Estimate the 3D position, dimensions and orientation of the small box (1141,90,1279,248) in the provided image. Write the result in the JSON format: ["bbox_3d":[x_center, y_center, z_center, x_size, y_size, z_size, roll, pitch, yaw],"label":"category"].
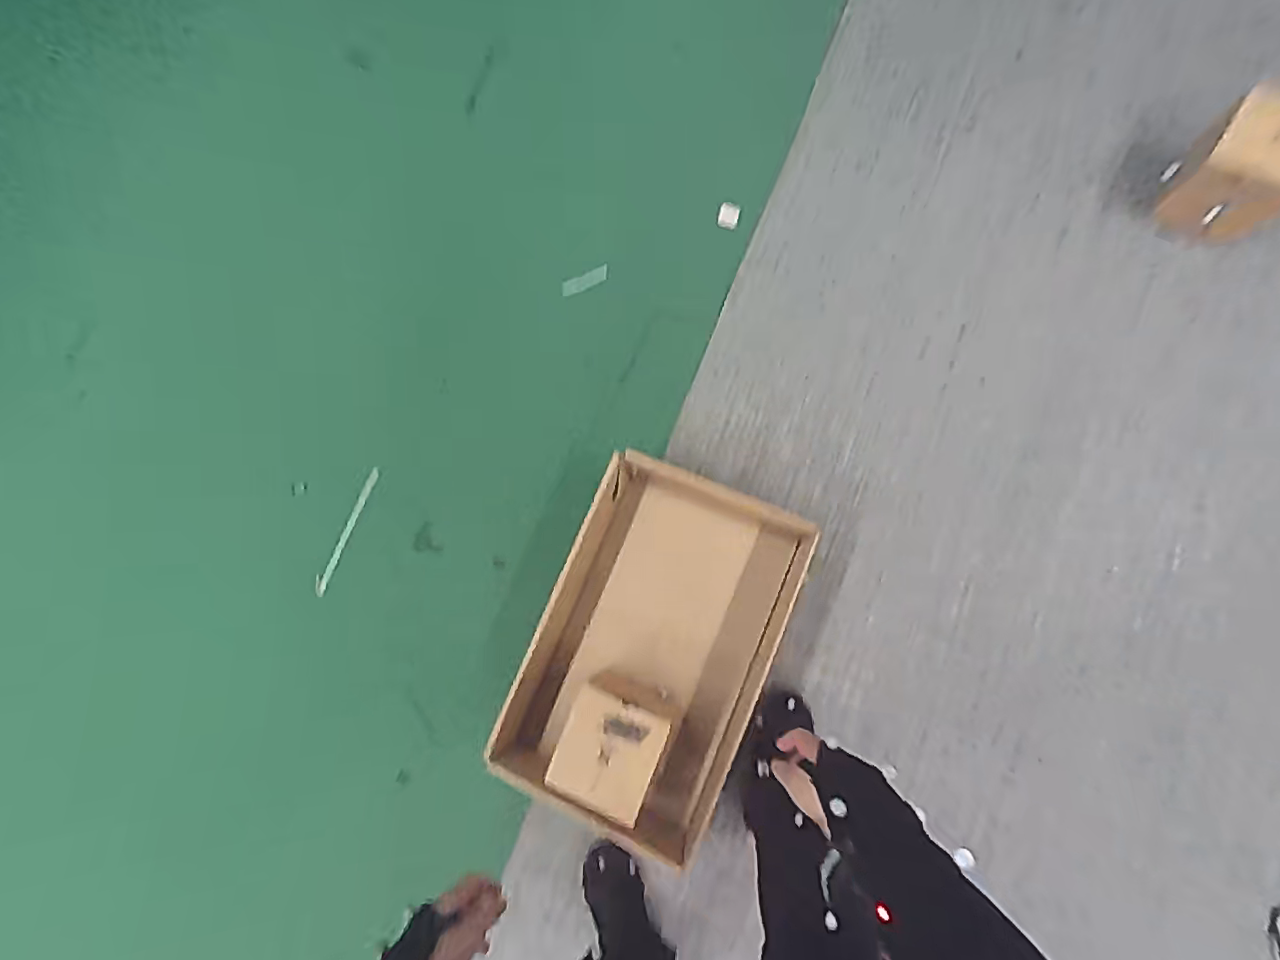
[{"bbox_3d":[1.136,-0.588,1.043,0.168,0.176,0.179,32,86,14],"label":"small box"}]

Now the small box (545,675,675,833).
[{"bbox_3d":[-0.042,0.469,0.960,0.168,0.176,0.179,21,83,12],"label":"small box"}]
